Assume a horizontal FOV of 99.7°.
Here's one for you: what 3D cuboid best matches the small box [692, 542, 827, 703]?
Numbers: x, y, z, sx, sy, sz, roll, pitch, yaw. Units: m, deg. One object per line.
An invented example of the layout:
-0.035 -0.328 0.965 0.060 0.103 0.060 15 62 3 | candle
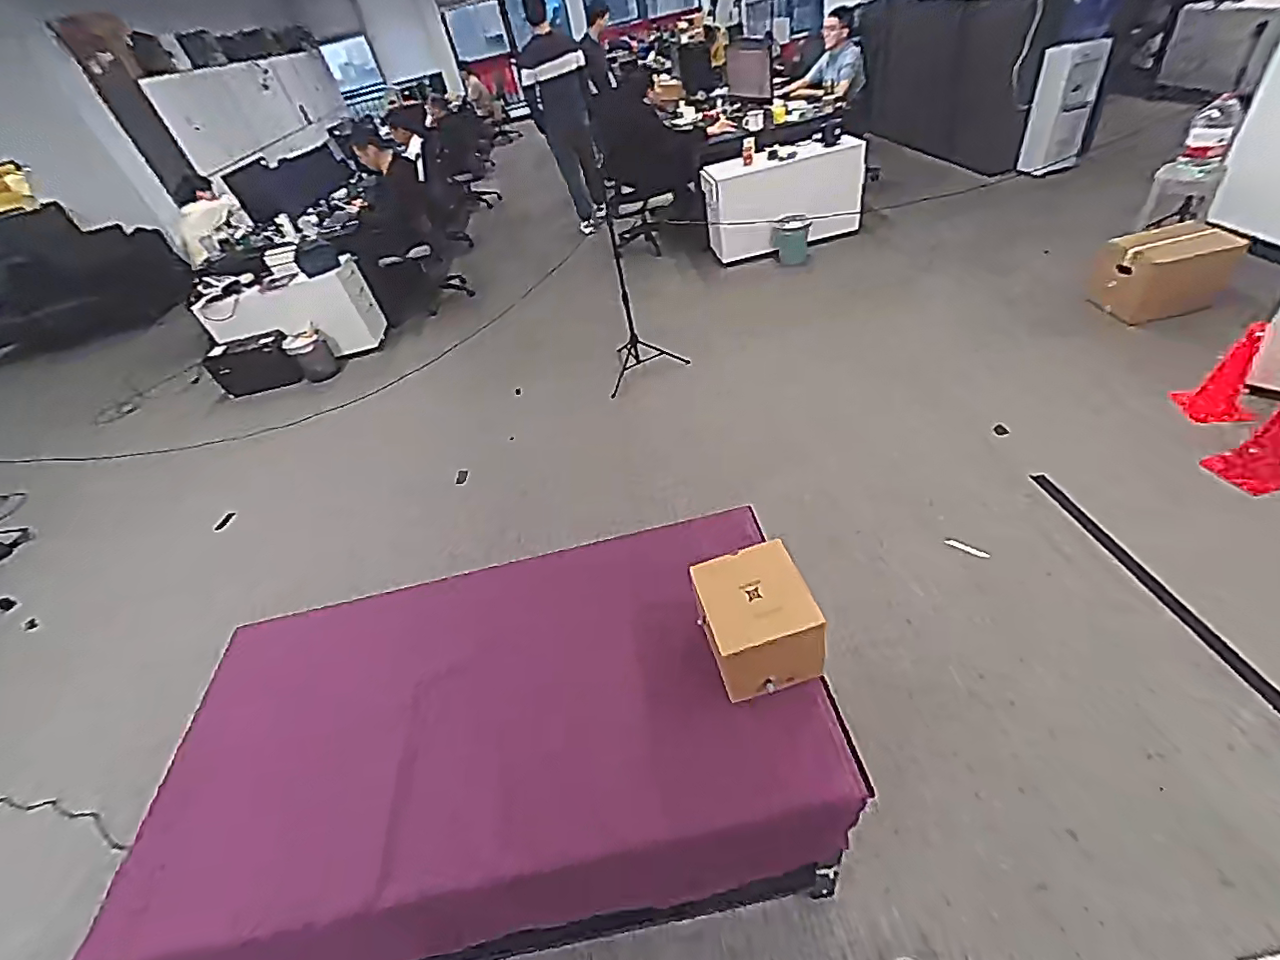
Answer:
0.198 0.240 0.908 0.168 0.176 0.179 -18 41 -1 | small box
